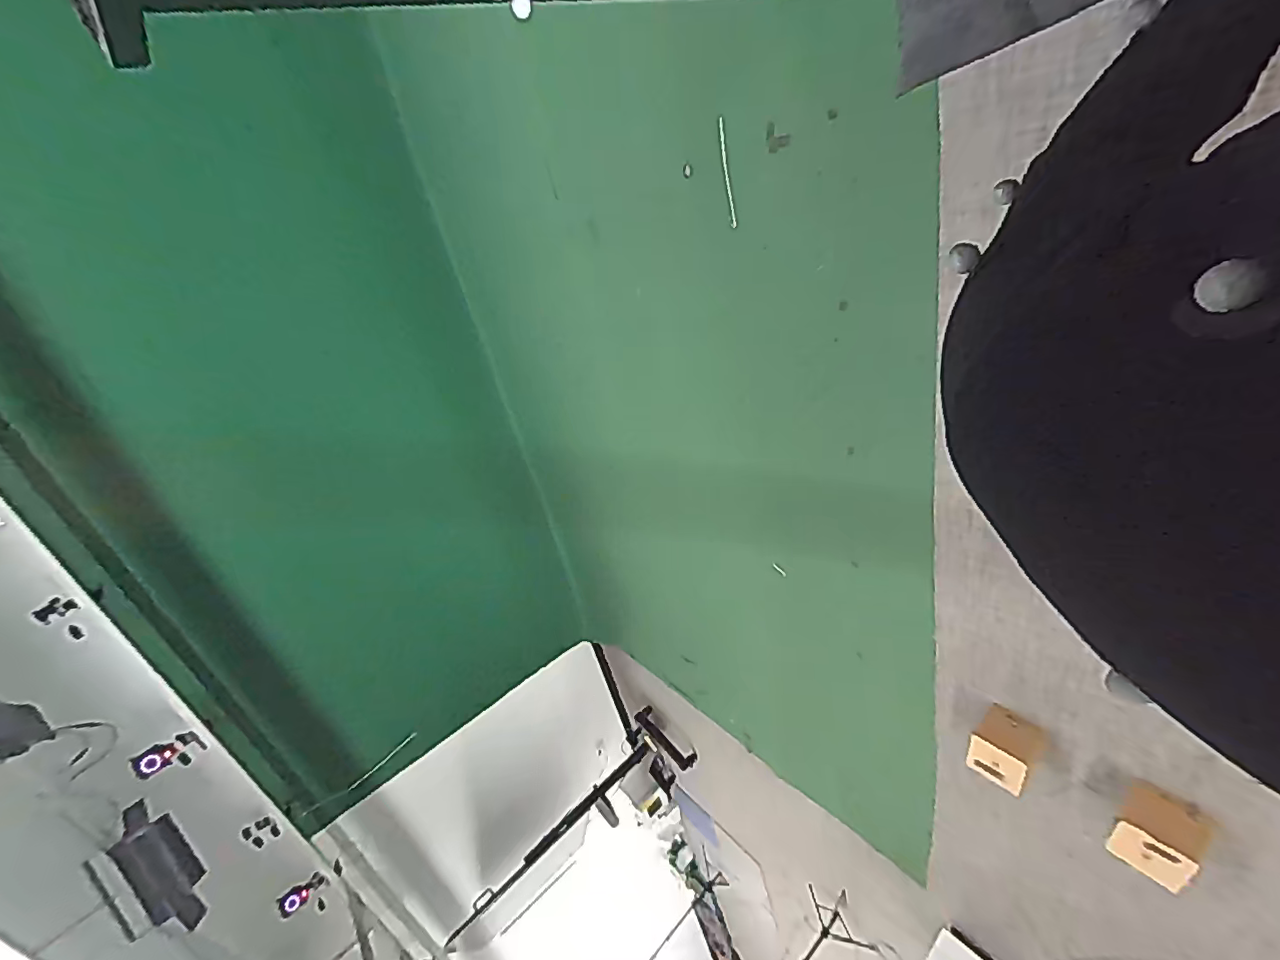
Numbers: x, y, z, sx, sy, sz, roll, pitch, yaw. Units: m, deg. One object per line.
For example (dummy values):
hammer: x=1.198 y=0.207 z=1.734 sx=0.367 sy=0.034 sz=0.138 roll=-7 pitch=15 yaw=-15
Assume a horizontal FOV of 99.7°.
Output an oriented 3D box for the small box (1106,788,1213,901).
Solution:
small box: x=1.475 y=1.025 z=1.534 sx=0.168 sy=0.176 sz=0.179 roll=28 pitch=138 yaw=45
